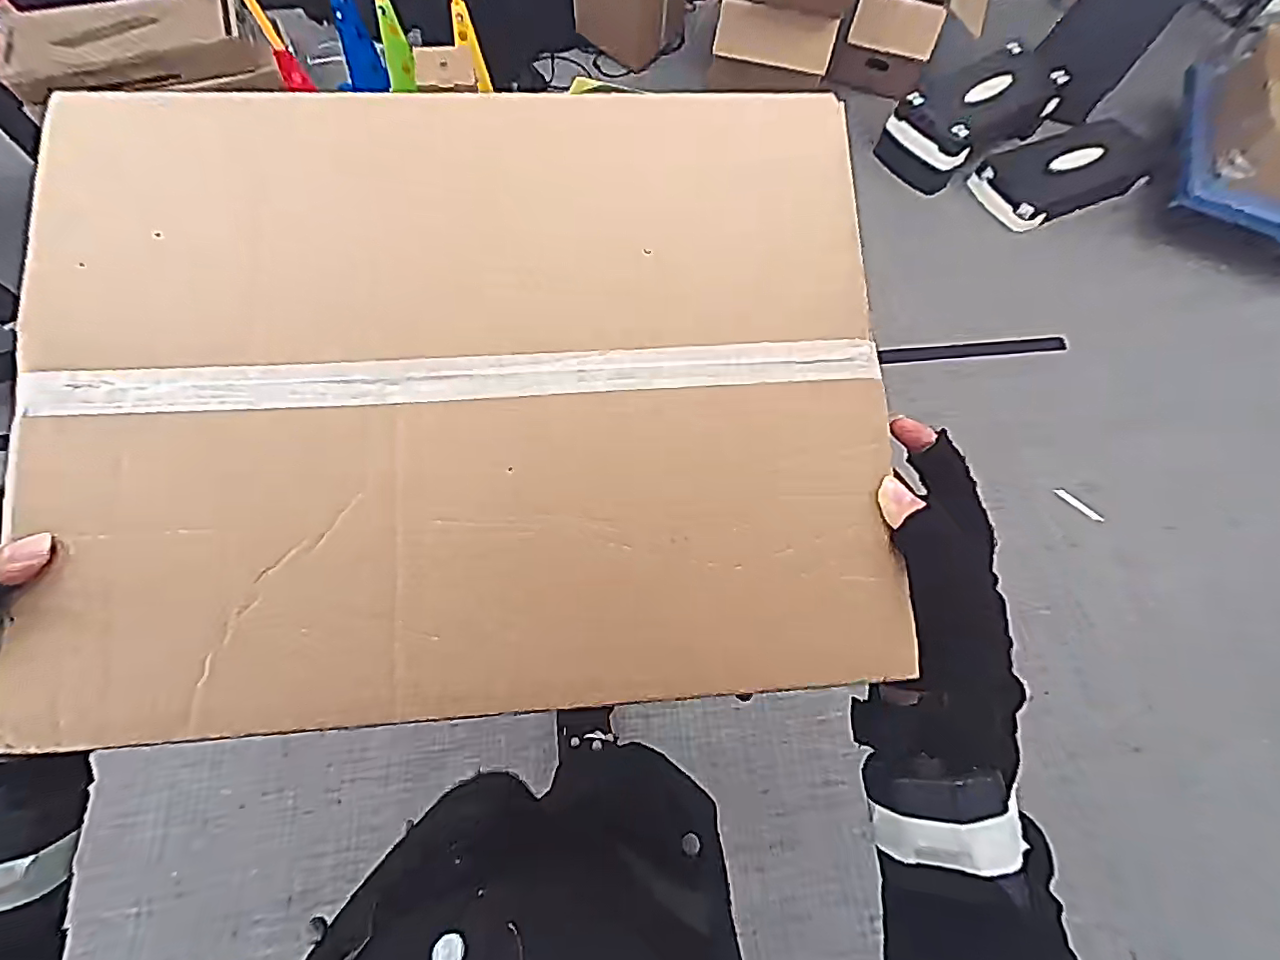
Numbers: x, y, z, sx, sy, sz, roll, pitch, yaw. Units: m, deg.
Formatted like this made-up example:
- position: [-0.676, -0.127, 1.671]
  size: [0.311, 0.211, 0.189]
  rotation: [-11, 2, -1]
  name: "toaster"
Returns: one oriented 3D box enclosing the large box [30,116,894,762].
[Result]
- position: [-0.090, -0.021, 0.418]
  size: [0.408, 0.320, 0.320]
  rotation: [-4, 81, -4]
  name: "large box"
